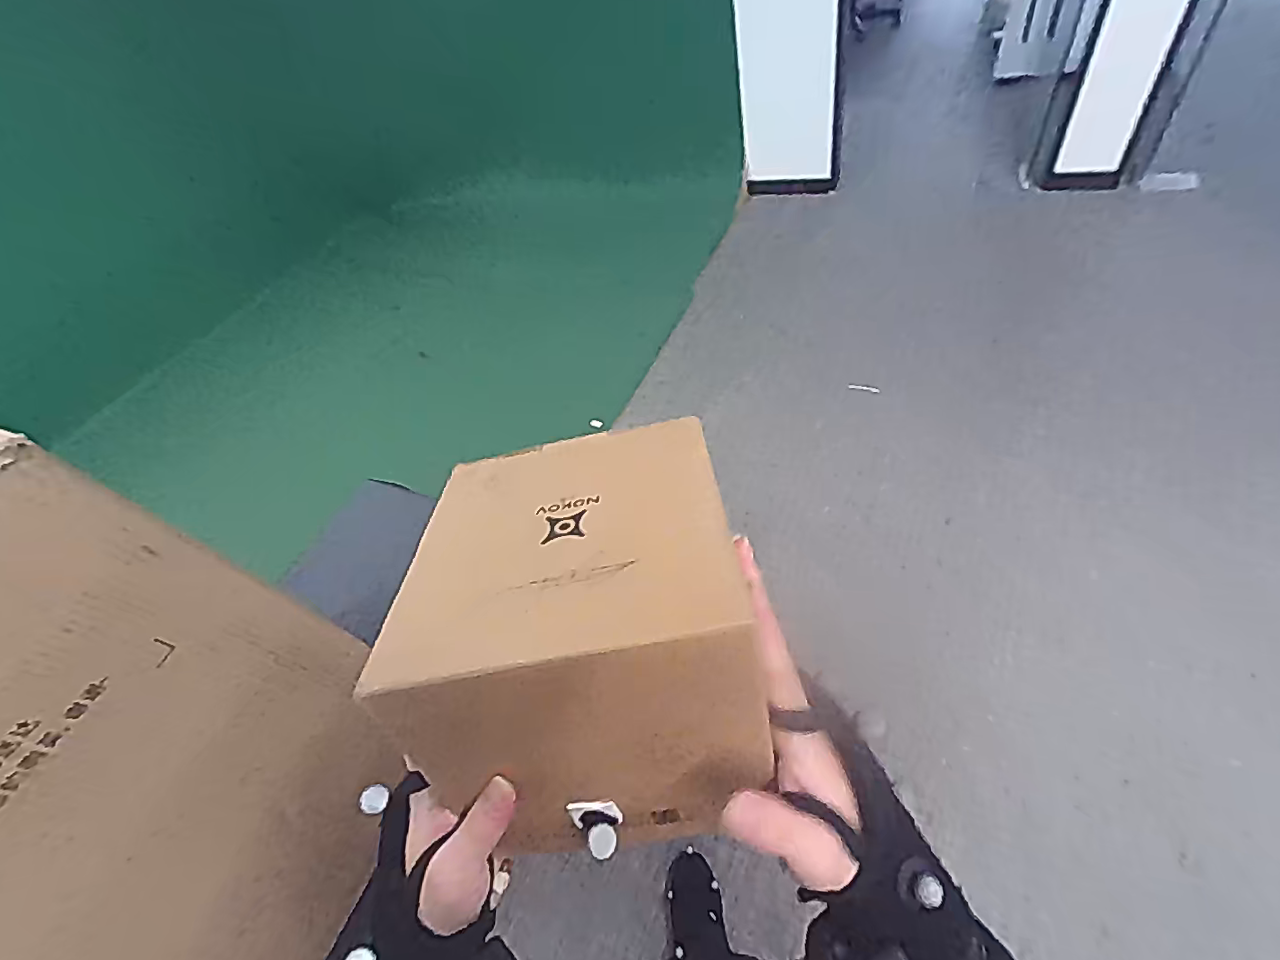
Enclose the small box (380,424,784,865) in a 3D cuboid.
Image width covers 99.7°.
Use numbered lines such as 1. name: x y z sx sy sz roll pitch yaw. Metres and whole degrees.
1. small box: -0.018 0.092 0.327 0.168 0.176 0.179 -12 35 3
